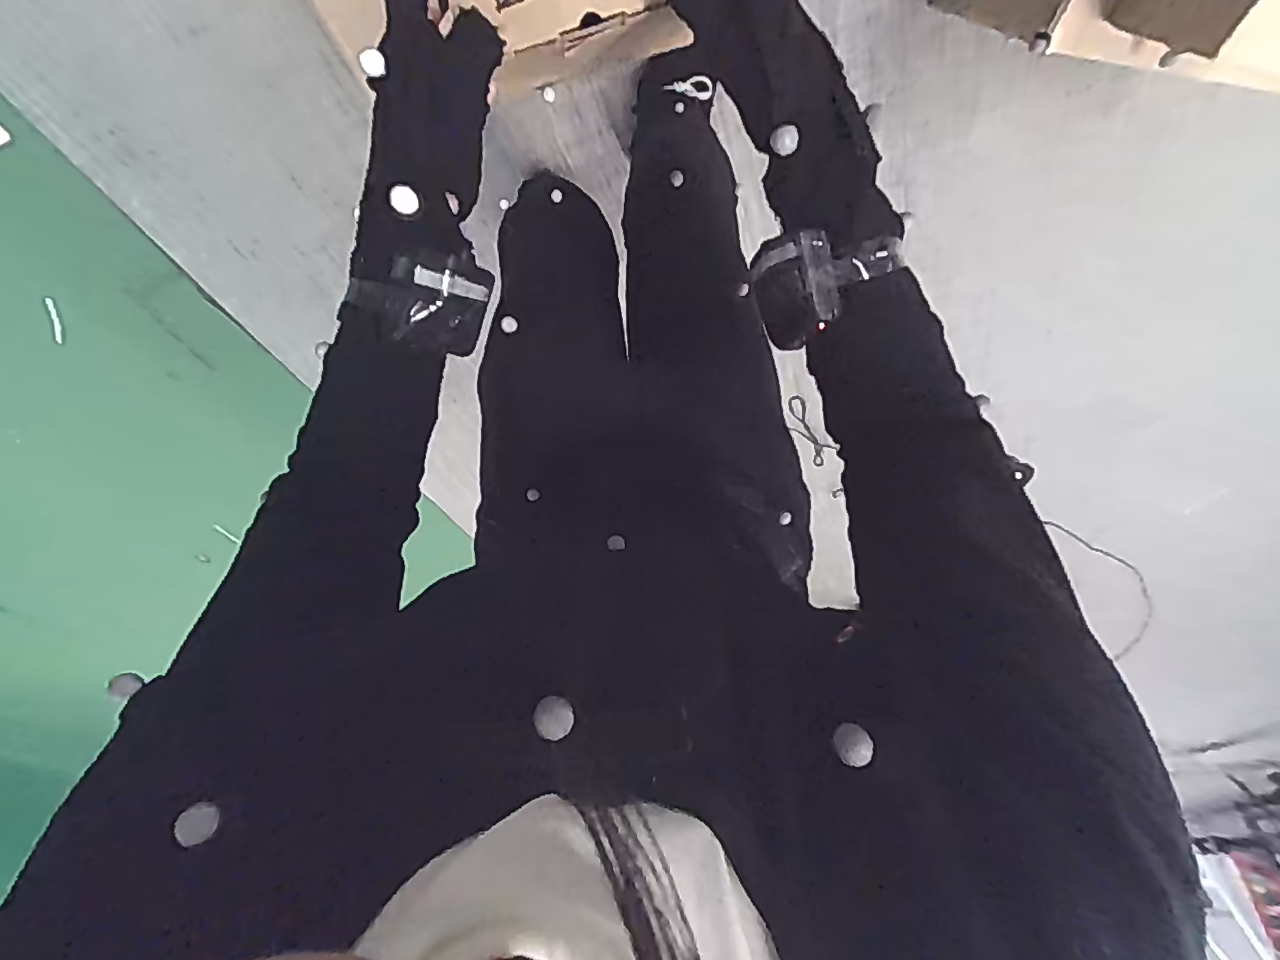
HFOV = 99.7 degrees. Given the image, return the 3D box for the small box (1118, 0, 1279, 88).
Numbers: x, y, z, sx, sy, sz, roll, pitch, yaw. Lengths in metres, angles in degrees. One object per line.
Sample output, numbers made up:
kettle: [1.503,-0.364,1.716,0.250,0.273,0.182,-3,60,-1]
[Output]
small box: [0.609,-0.480,0.491,0.168,0.176,0.179,6,138,-8]

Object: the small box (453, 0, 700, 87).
small box: [-0.051,-0.403,0.379,0.168,0.176,0.179,-13,118,8]
